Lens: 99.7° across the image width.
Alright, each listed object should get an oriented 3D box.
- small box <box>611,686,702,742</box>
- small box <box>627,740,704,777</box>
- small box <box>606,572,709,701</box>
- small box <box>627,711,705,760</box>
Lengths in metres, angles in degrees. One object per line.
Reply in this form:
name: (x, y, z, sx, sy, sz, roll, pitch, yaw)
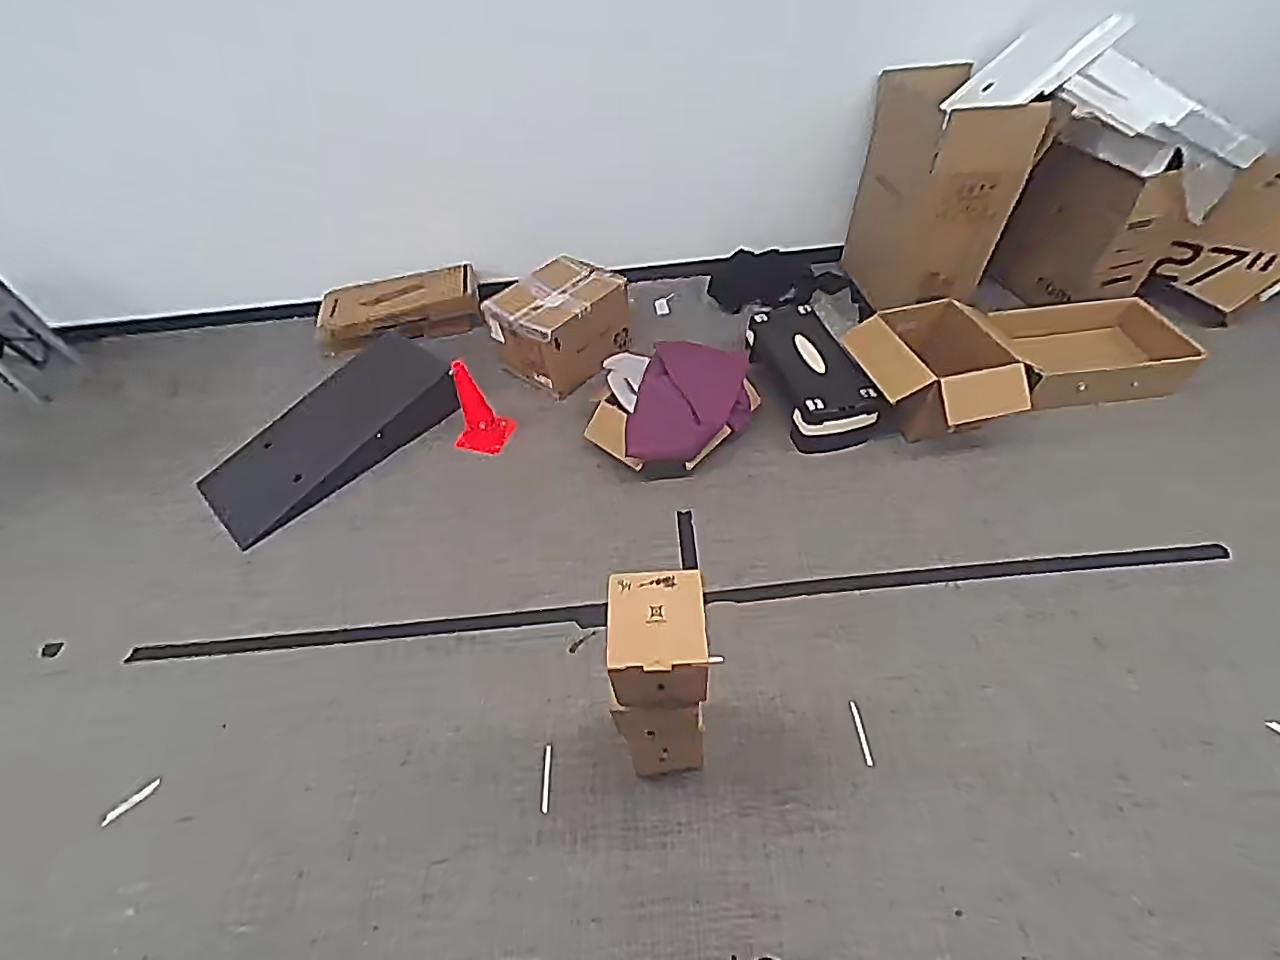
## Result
small box: (0.039, 0.403, 1.077, 0.168, 0.176, 0.179, -1, 50, 6)
small box: (0.059, 0.613, 1.327, 0.179, 0.176, 0.168, -8, 49, -1)
small box: (0.035, 0.284, 0.963, 0.168, 0.176, 0.179, -3, 49, 4)
small box: (0.051, 0.504, 1.204, 0.168, 0.176, 0.179, -5, 49, 2)
